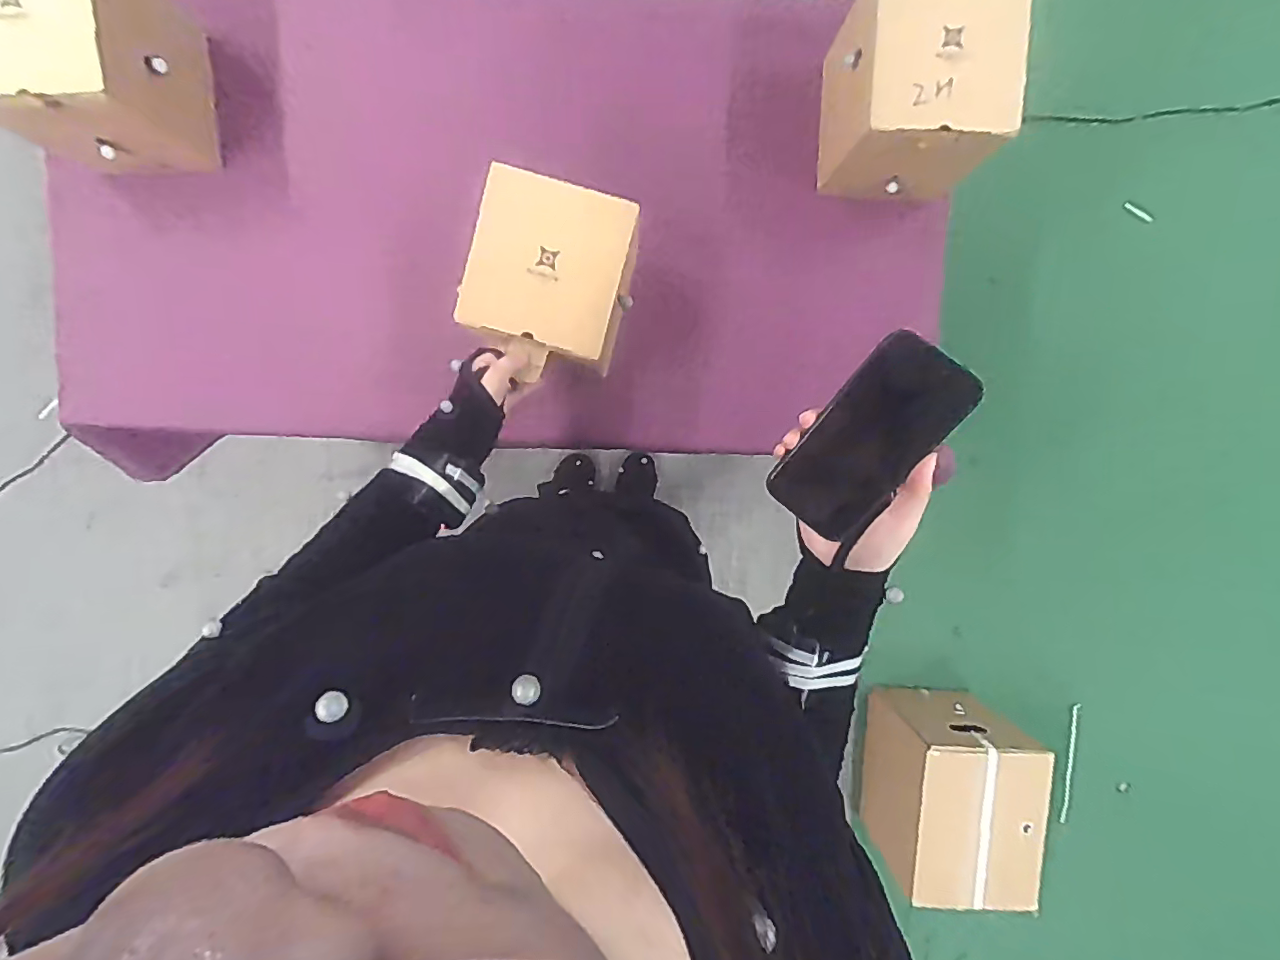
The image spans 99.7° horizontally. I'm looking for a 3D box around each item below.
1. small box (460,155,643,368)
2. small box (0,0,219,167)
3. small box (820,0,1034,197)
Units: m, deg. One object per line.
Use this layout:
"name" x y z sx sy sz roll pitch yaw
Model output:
"small box" -0.100 -0.250 0.664 0.168 0.176 0.179 15 95 -3
"small box" -0.633 -0.485 0.627 0.168 0.176 0.179 -3 97 -2
"small box" 0.327 -0.470 0.649 0.168 0.176 0.179 2 96 0
